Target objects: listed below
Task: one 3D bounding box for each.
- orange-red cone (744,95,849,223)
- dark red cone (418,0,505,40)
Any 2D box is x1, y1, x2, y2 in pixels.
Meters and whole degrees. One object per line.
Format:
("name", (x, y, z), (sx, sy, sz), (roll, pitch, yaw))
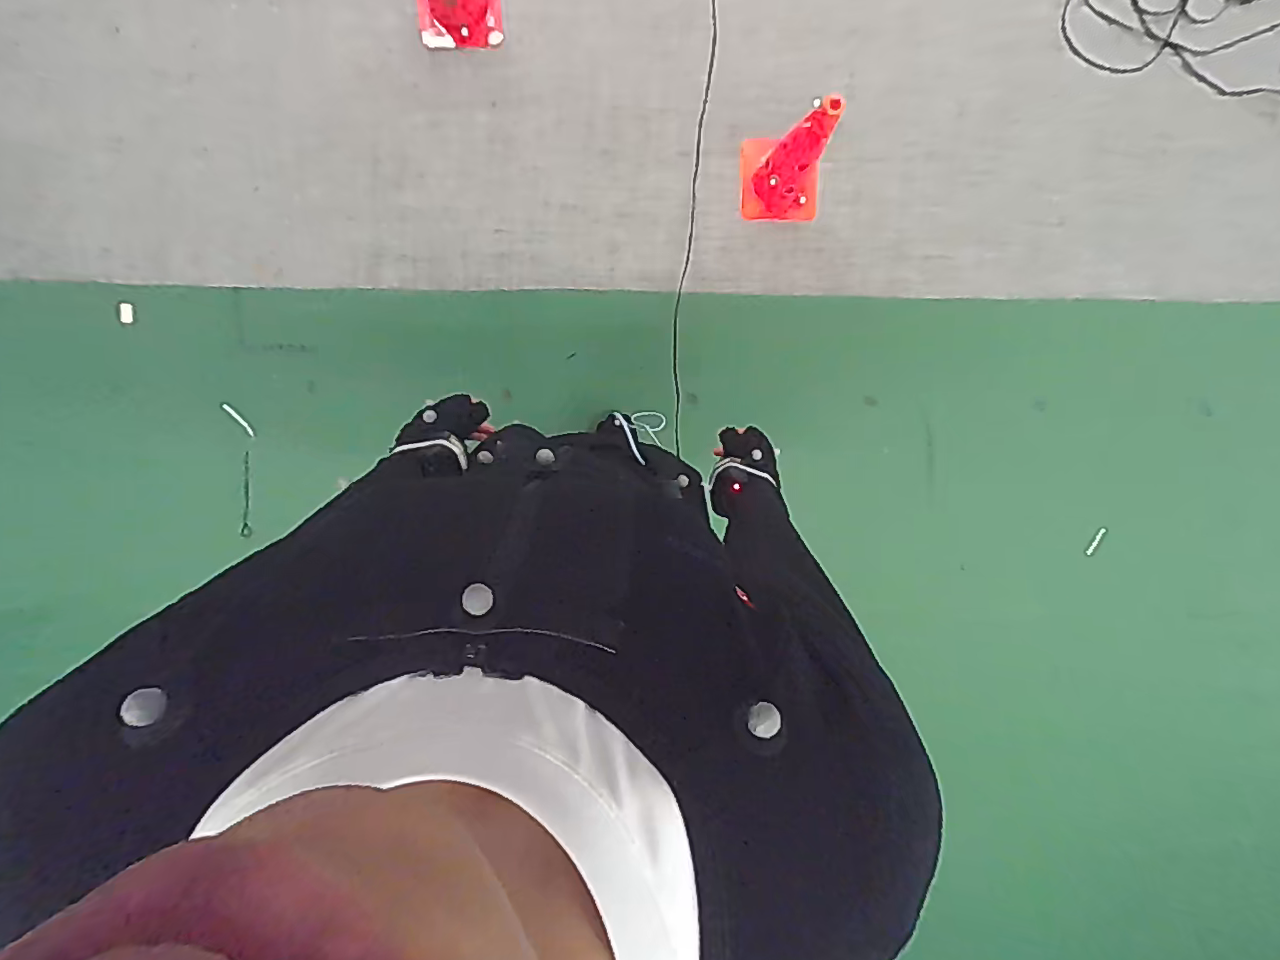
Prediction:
("orange-red cone", (0.380, -0.757, 1.231), (0.198, 0.360, 0.199), (1, 96, -4))
("dark red cone", (-0.421, -1.138, 1.127), (0.202, 0.394, 0.201), (-5, 98, -2))
